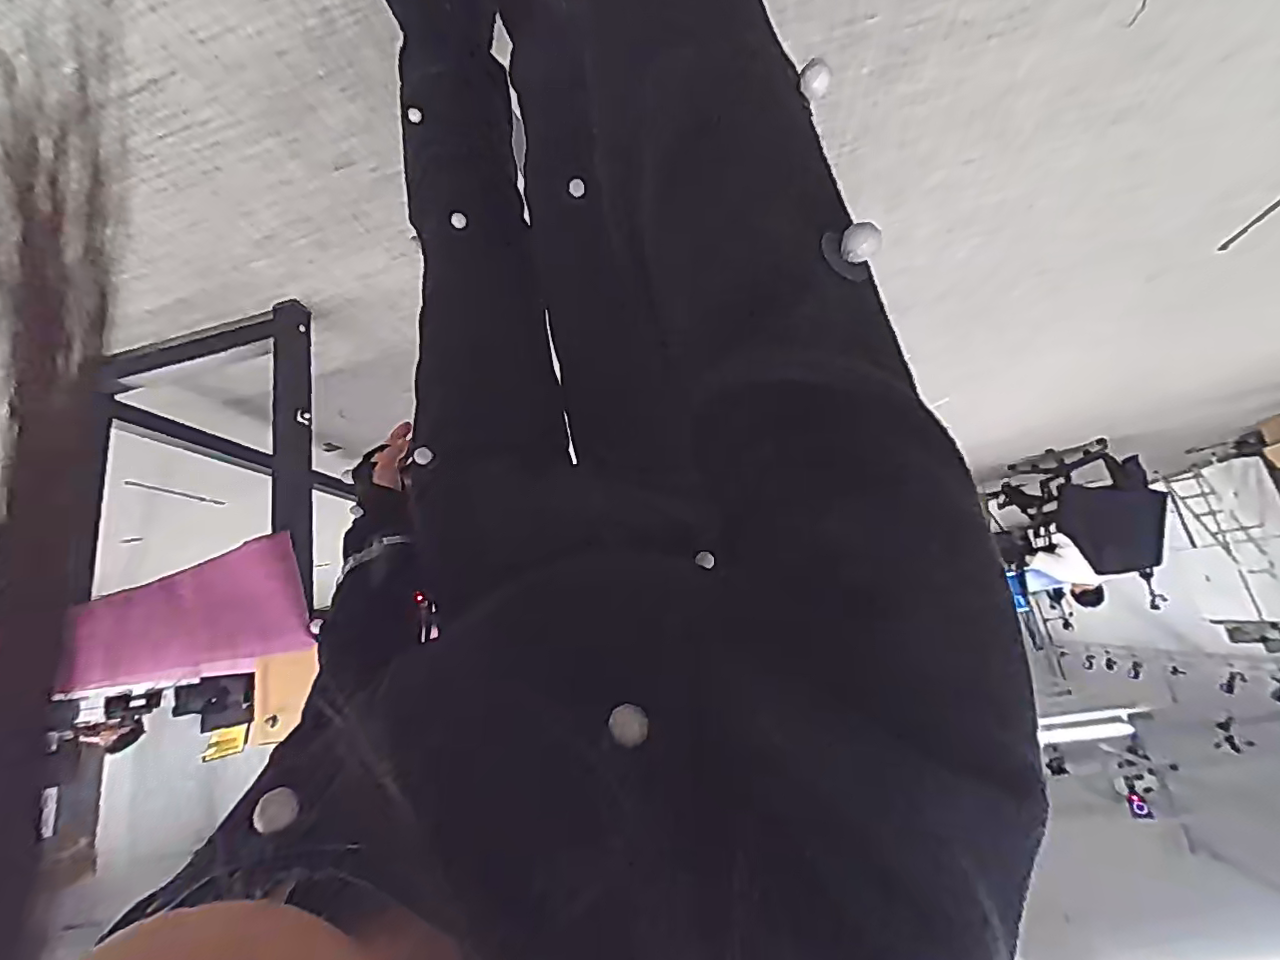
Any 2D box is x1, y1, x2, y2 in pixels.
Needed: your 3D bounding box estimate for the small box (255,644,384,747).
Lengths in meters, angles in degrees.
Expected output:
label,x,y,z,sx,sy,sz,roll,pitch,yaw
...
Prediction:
label,x,y,z,sx,sy,sz,roll,pitch,yaw
small box,-0.670,0.446,1.143,0.179,0.176,0.168,-12,166,8
